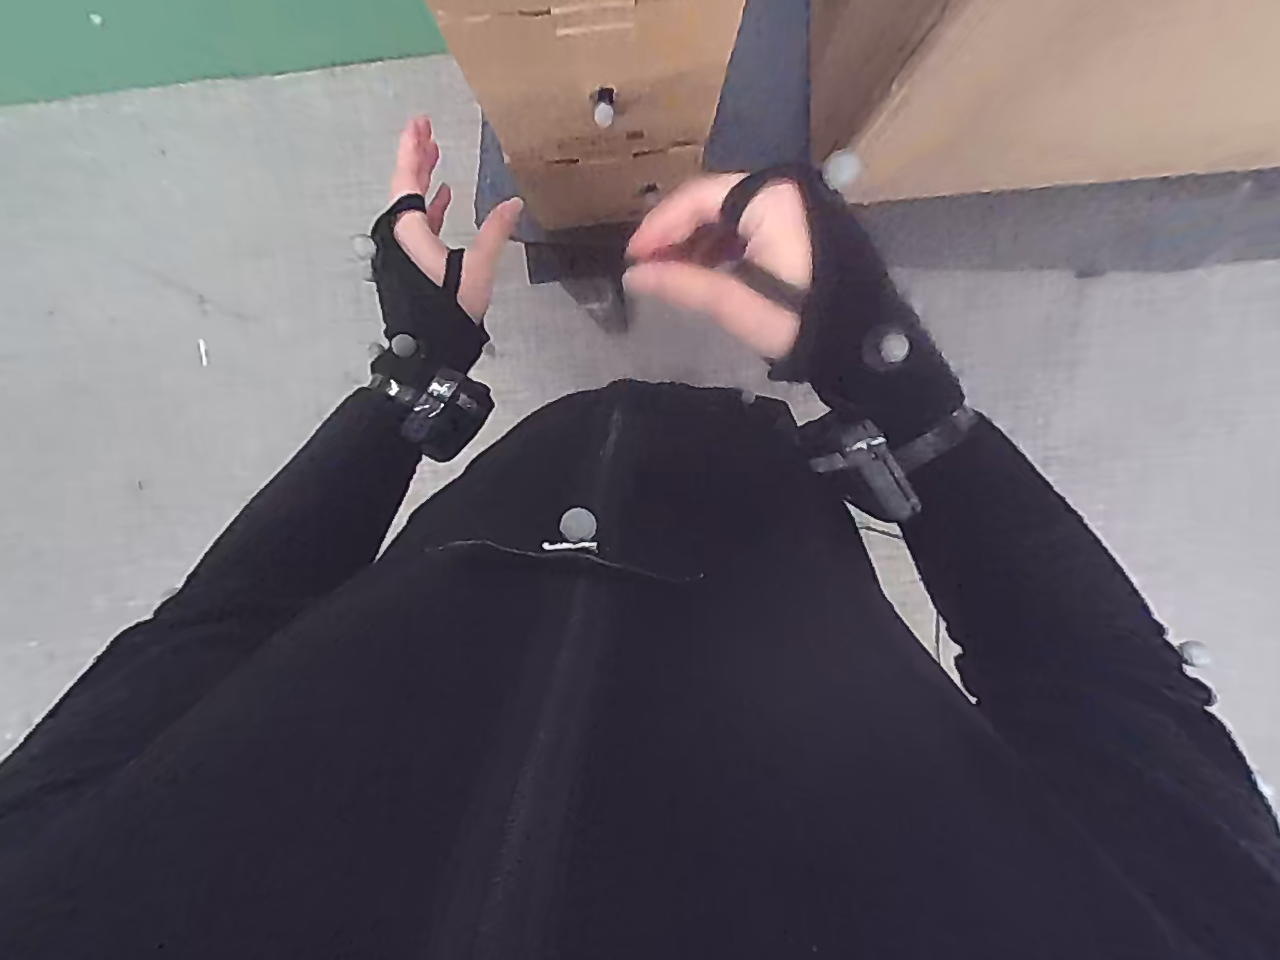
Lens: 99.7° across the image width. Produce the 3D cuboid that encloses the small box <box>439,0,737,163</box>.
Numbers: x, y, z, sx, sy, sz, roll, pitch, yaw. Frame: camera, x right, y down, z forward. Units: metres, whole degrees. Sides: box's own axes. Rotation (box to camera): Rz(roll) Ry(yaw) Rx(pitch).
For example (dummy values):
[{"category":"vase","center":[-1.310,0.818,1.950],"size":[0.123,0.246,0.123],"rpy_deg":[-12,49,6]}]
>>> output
[{"category":"small box","center":[-0.033,-0.338,0.363],"size":[0.168,0.176,0.179],"rpy_deg":[-6,98,1]}]

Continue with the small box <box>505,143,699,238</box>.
[{"category":"small box","center":[-0.038,-0.352,0.527],"size":[0.168,0.176,0.179],"rpy_deg":[-7,95,0]}]
